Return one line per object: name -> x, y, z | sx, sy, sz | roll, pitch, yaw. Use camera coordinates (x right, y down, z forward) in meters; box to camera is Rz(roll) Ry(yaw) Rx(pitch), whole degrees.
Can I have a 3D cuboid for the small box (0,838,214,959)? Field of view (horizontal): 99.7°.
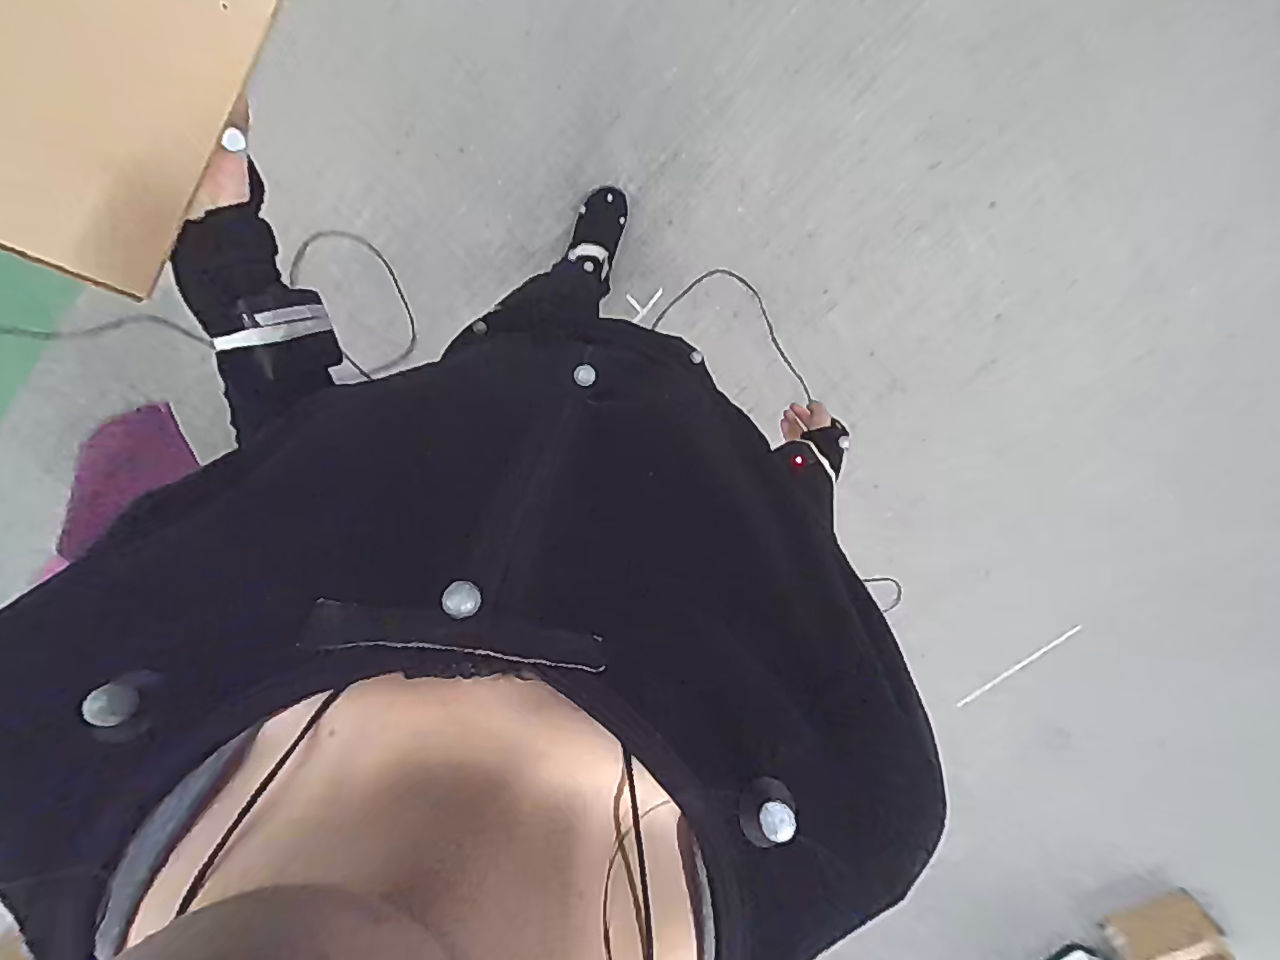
small box -> -0.756, 0.636, 0.743 | 0.168, 0.176, 0.179 | -43, 108, 14
